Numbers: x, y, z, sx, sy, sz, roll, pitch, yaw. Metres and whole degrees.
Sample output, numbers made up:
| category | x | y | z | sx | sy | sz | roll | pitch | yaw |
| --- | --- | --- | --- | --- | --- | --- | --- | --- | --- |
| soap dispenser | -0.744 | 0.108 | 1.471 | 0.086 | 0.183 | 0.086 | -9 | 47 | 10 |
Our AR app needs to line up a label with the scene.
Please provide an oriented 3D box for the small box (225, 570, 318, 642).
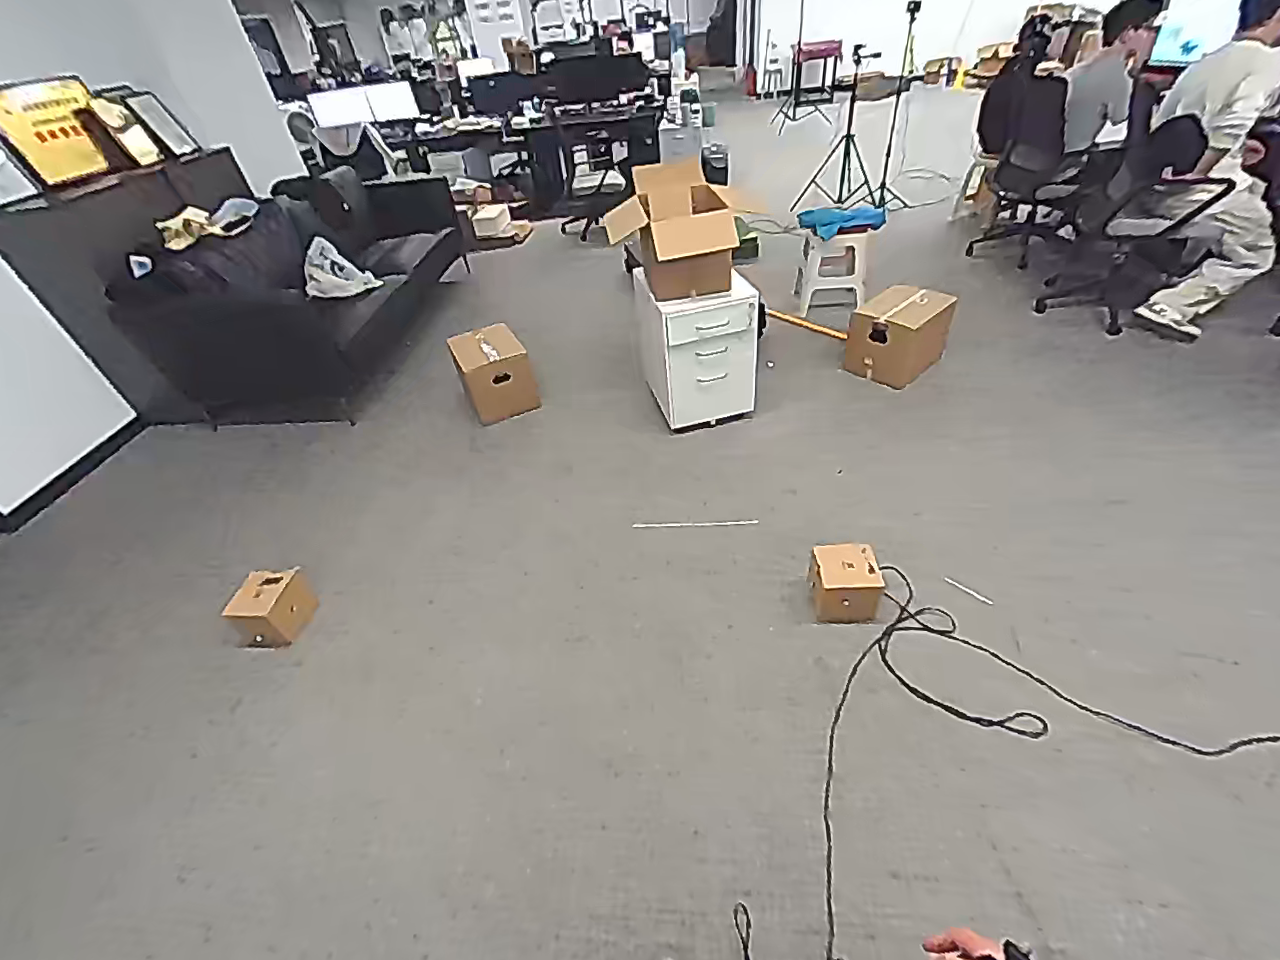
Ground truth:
| category | x | y | z | sx | sy | sz | roll | pitch | yaw |
| --- | --- | --- | --- | --- | --- | --- | --- | --- | --- |
| small box | -1.240 | 0.429 | 1.840 | 0.168 | 0.176 | 0.179 | -1 | 42 | 8 |

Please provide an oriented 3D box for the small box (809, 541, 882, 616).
| category | x | y | z | sx | sy | sz | roll | pitch | yaw |
| --- | --- | --- | --- | --- | --- | --- | --- | --- | --- |
| small box | 0.625 | 0.308 | 1.672 | 0.179 | 0.176 | 0.168 | -4 | 42 | 6 |
